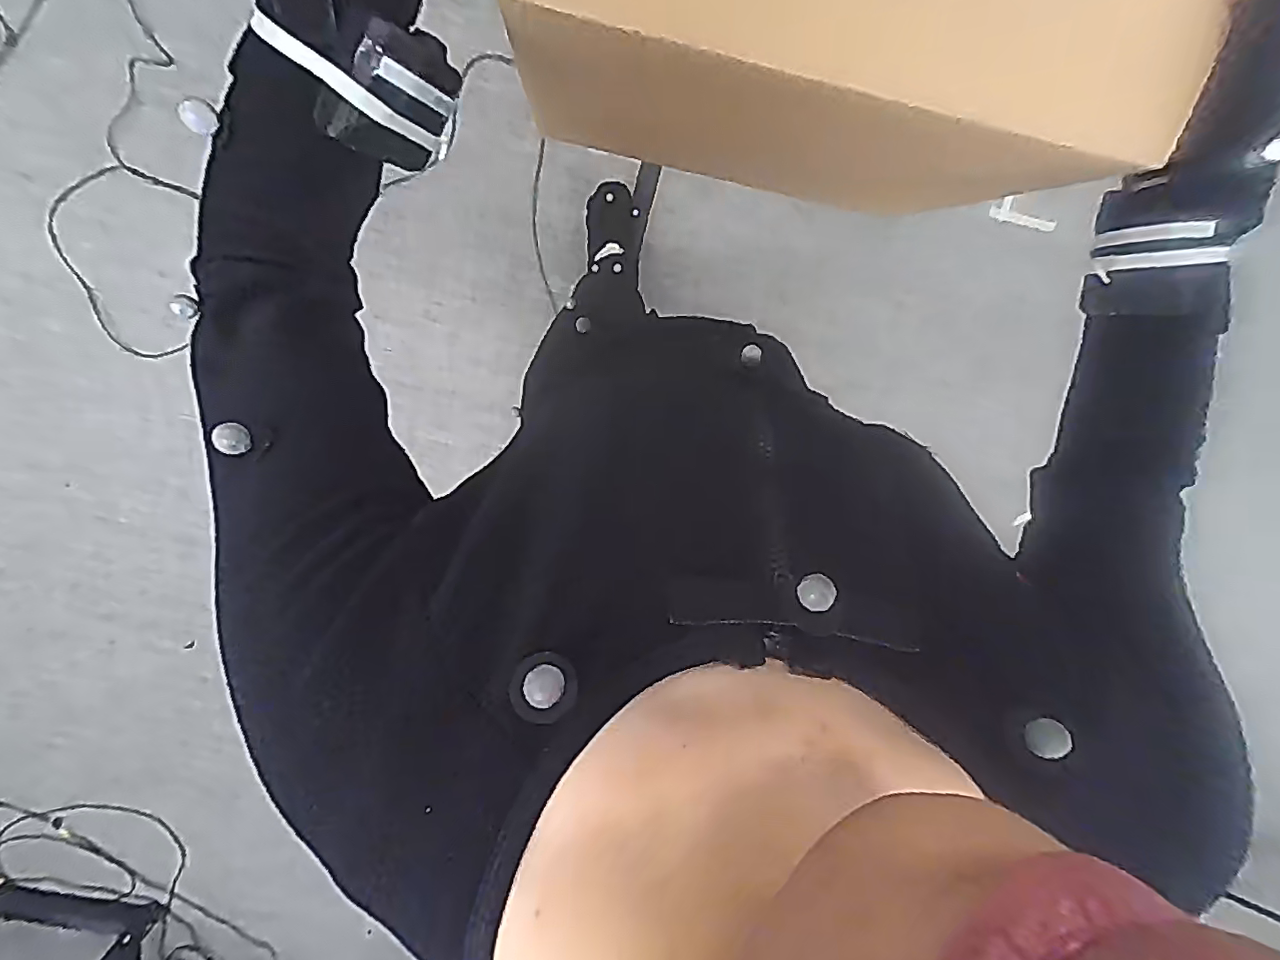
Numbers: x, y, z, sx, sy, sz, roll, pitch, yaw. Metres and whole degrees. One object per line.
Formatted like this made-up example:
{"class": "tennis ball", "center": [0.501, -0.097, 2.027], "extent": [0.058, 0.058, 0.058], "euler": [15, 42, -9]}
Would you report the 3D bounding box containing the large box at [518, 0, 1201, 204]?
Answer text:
{"class": "large box", "center": [0.129, -0.426, 0.402], "extent": [0.408, 0.320, 0.320], "euler": [7, 110, -10]}
